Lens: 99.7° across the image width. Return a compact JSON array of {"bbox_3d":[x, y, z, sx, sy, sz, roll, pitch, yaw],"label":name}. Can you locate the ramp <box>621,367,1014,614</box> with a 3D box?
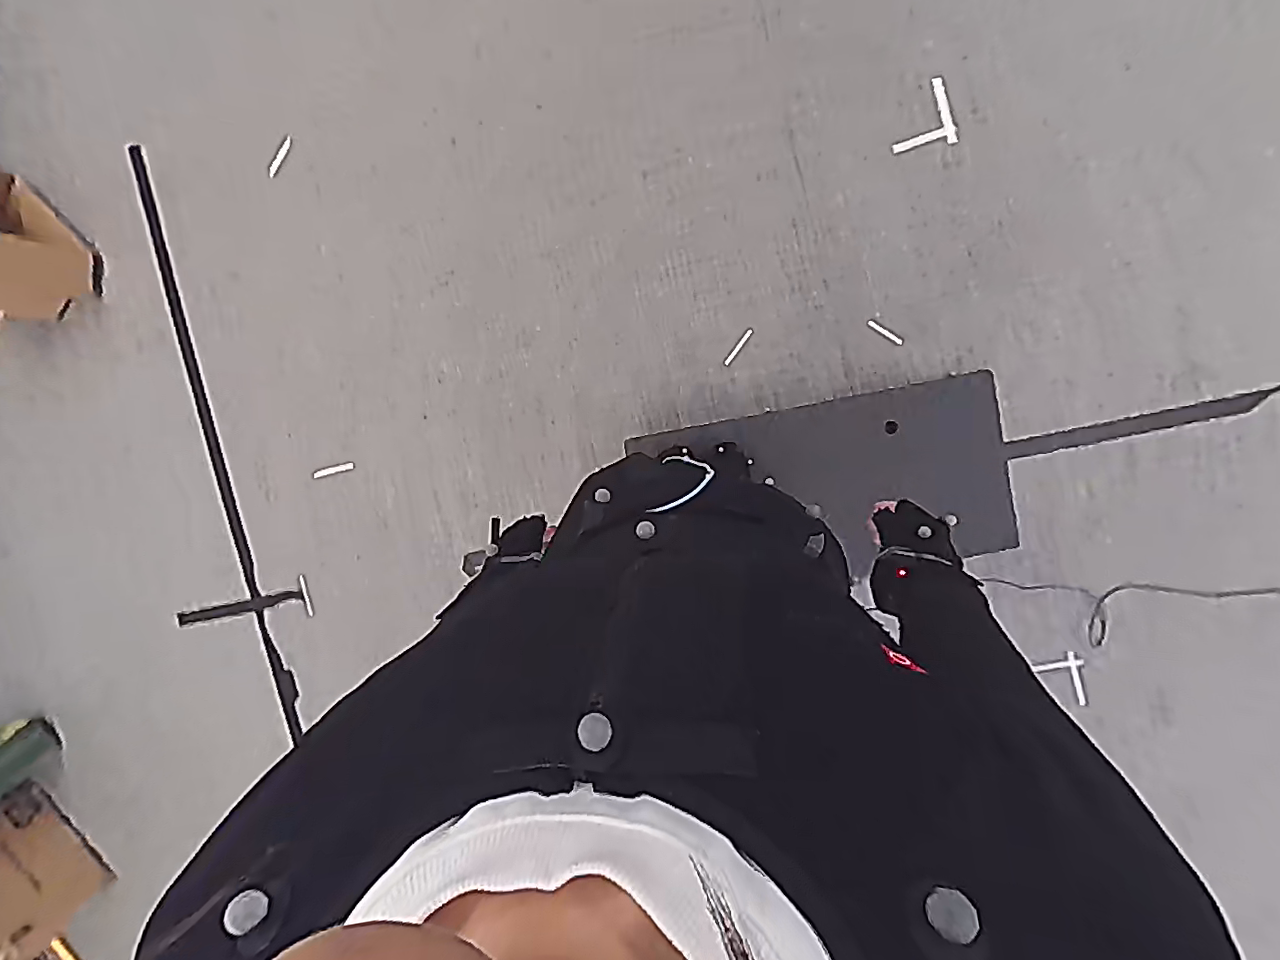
[{"bbox_3d":[0.481,0.025,1.455,0.991,0.206,0.509,-13,91,9],"label":"ramp"}]
